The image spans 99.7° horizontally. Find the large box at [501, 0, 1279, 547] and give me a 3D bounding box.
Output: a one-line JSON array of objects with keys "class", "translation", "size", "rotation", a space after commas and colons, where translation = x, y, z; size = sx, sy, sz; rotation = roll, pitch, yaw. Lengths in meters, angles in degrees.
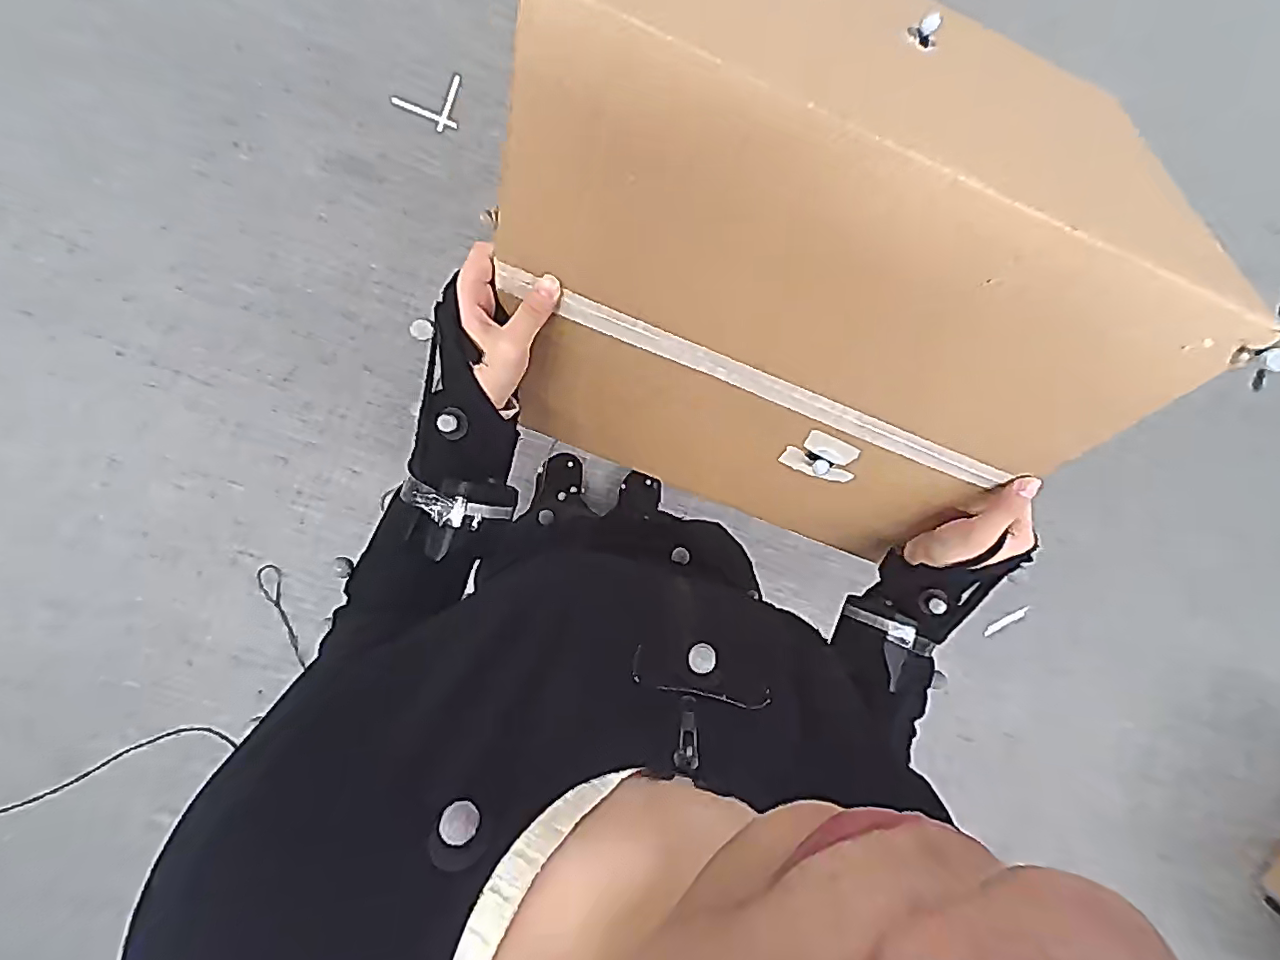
[{"class": "large box", "translation": [0.138, -0.199, 0.441], "size": [0.408, 0.320, 0.320], "rotation": [20, 56, -6]}]
